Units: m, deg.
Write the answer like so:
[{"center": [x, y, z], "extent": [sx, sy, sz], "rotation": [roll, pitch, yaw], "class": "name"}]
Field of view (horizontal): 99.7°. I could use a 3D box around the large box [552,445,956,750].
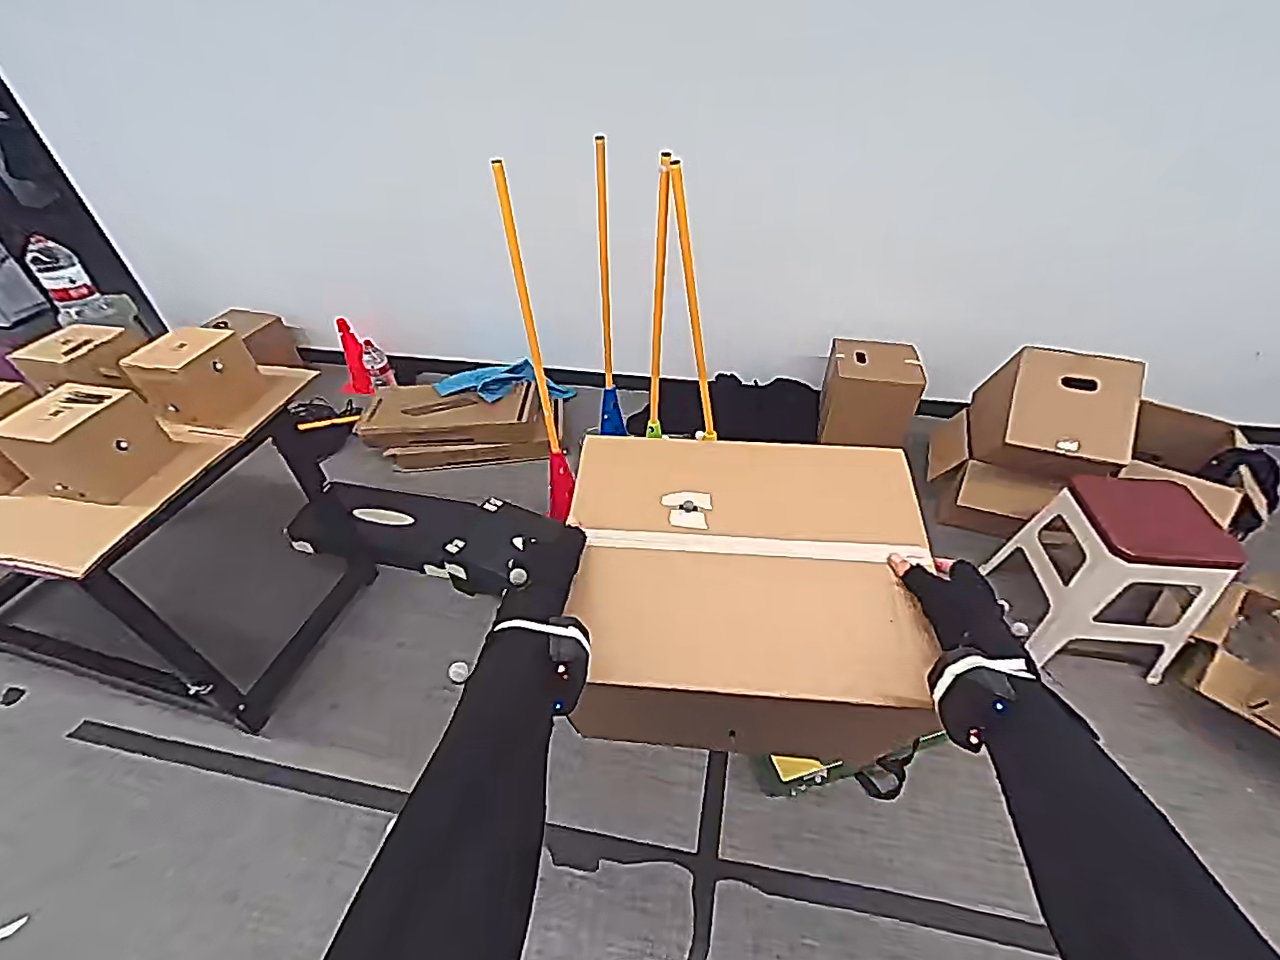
[{"center": [0.126, 0.168, 0.738], "extent": [0.408, 0.320, 0.320], "rotation": [2, 54, 5], "class": "large box"}]
